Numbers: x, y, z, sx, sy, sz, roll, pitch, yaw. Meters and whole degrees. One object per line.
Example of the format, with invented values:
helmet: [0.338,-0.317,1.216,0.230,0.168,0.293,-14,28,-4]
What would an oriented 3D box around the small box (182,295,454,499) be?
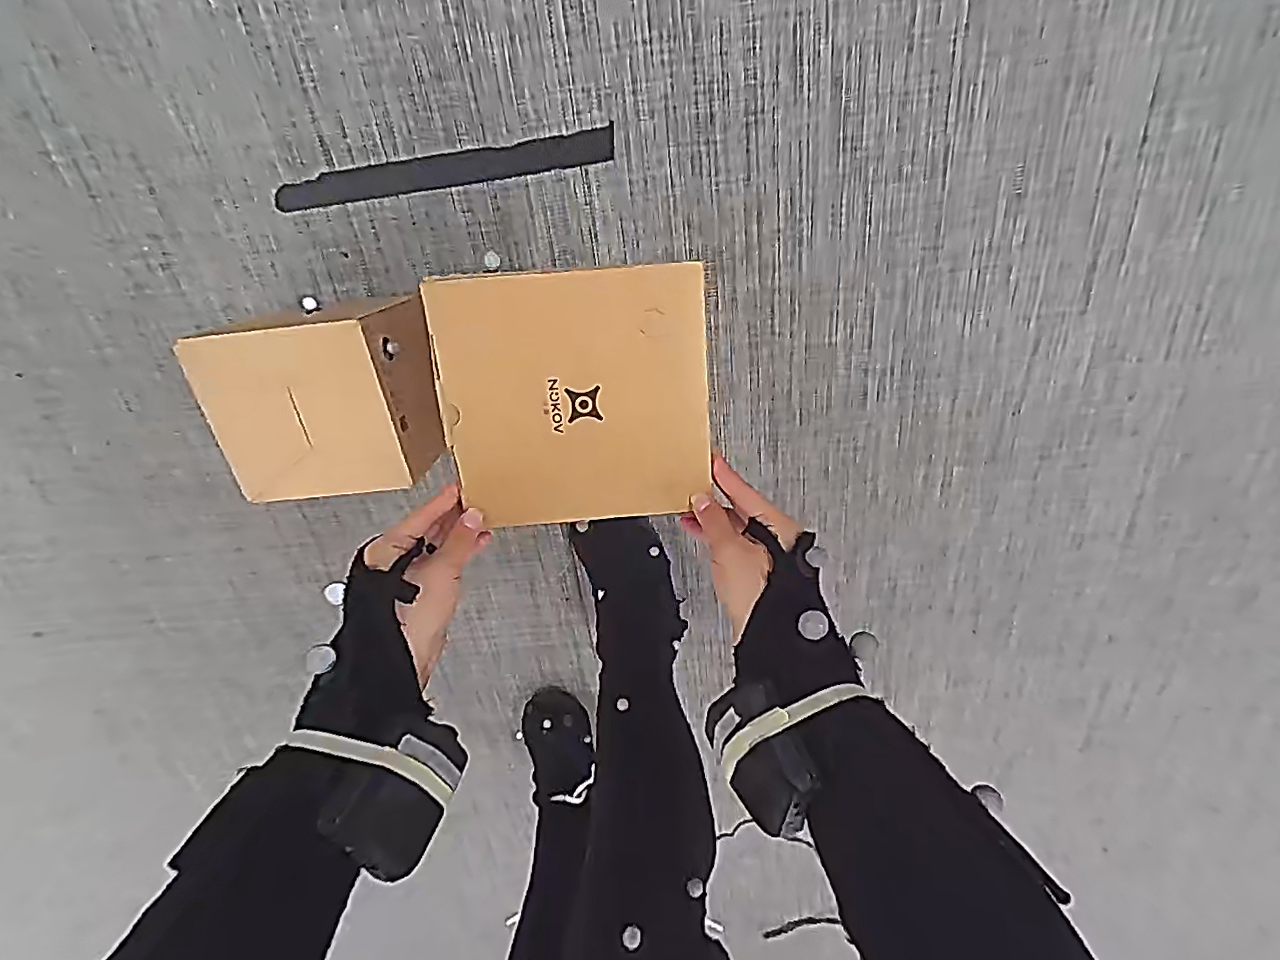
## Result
small box: [-0.315,-0.092,0.577,0.179,0.176,0.168,-6,116,2]

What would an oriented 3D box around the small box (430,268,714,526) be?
small box: [-0.042,-0.077,0.434,0.179,0.176,0.168,-5,109,0]
